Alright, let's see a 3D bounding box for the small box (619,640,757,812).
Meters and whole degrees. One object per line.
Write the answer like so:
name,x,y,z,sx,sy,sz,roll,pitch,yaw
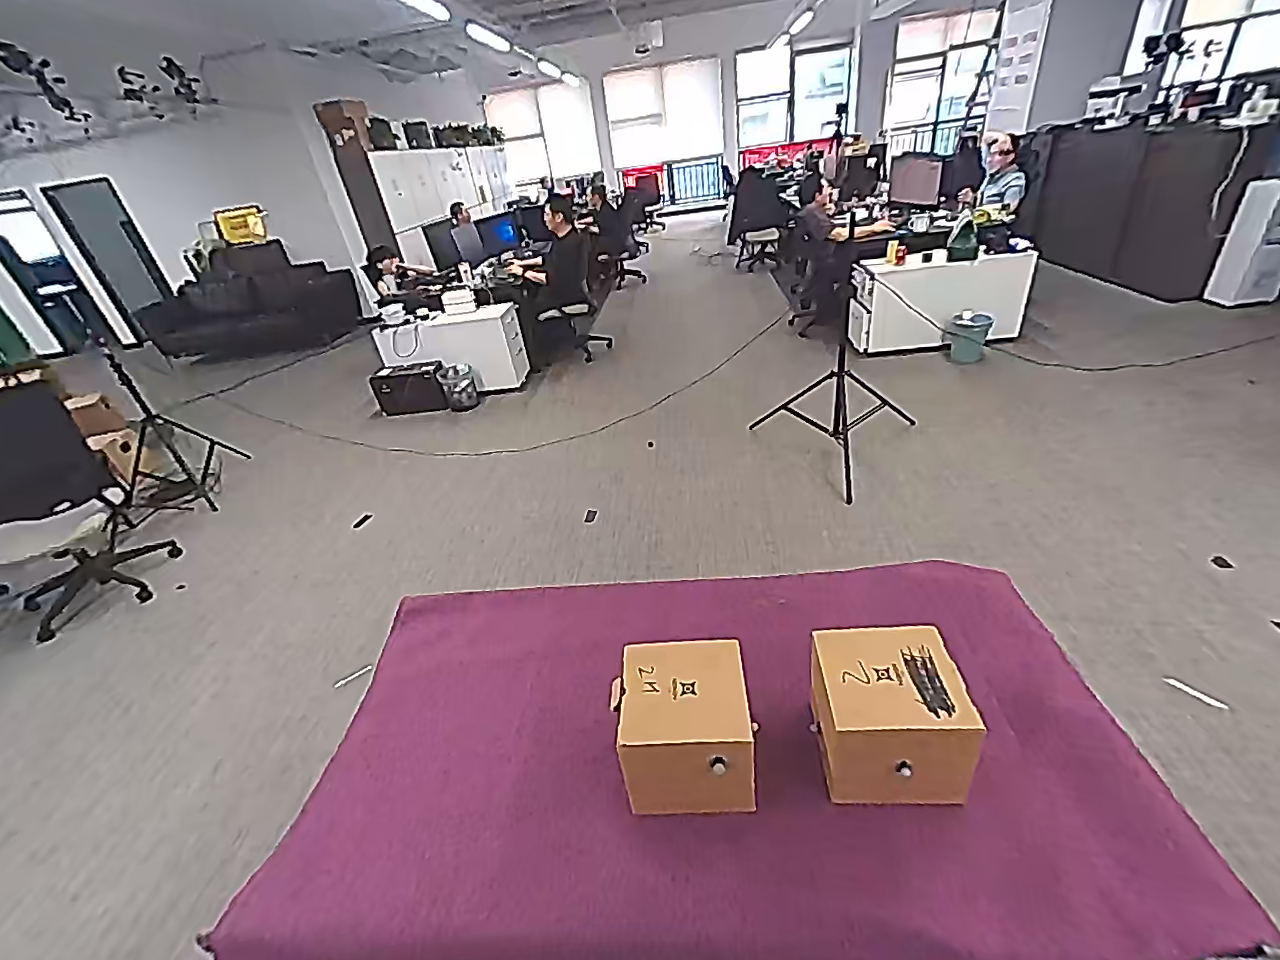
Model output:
small box,0.073,0.358,0.790,0.179,0.176,0.168,-6,31,6
